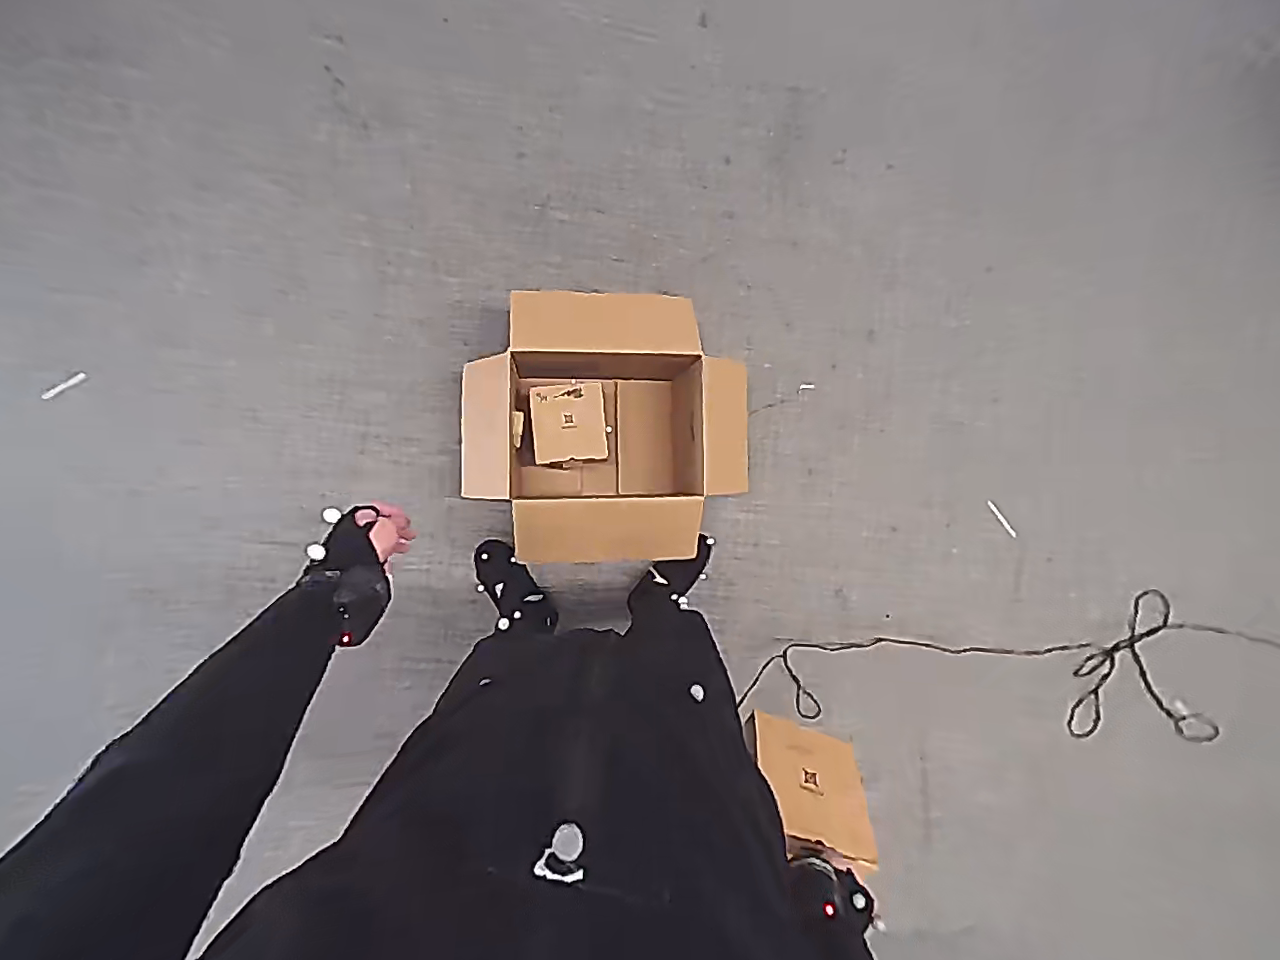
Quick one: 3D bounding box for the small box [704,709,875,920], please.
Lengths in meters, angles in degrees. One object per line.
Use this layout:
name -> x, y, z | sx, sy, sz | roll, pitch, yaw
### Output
small box -> 0.200, 0.475, 0.772 | 0.168, 0.179, 0.176 | 23, 116, -2
